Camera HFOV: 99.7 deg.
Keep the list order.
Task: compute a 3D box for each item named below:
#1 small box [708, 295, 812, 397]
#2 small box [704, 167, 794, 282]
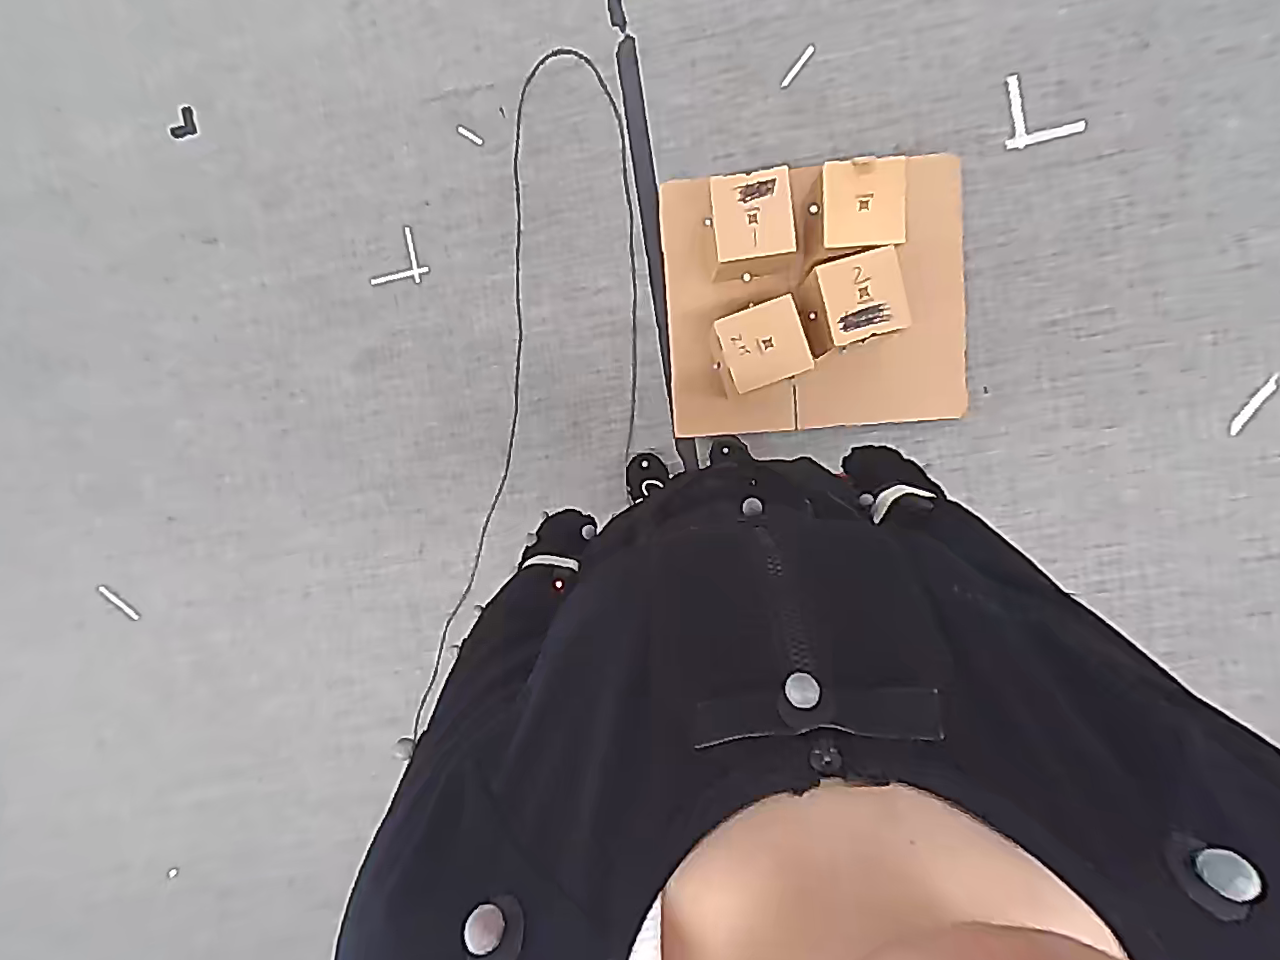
[{"bbox_3d":[0.266,-0.298,1.232,0.179,0.176,0.168,-19,93,5],"label":"small box"},{"bbox_3d":[0.238,-0.563,1.212,0.168,0.176,0.179,-7,95,4],"label":"small box"}]
